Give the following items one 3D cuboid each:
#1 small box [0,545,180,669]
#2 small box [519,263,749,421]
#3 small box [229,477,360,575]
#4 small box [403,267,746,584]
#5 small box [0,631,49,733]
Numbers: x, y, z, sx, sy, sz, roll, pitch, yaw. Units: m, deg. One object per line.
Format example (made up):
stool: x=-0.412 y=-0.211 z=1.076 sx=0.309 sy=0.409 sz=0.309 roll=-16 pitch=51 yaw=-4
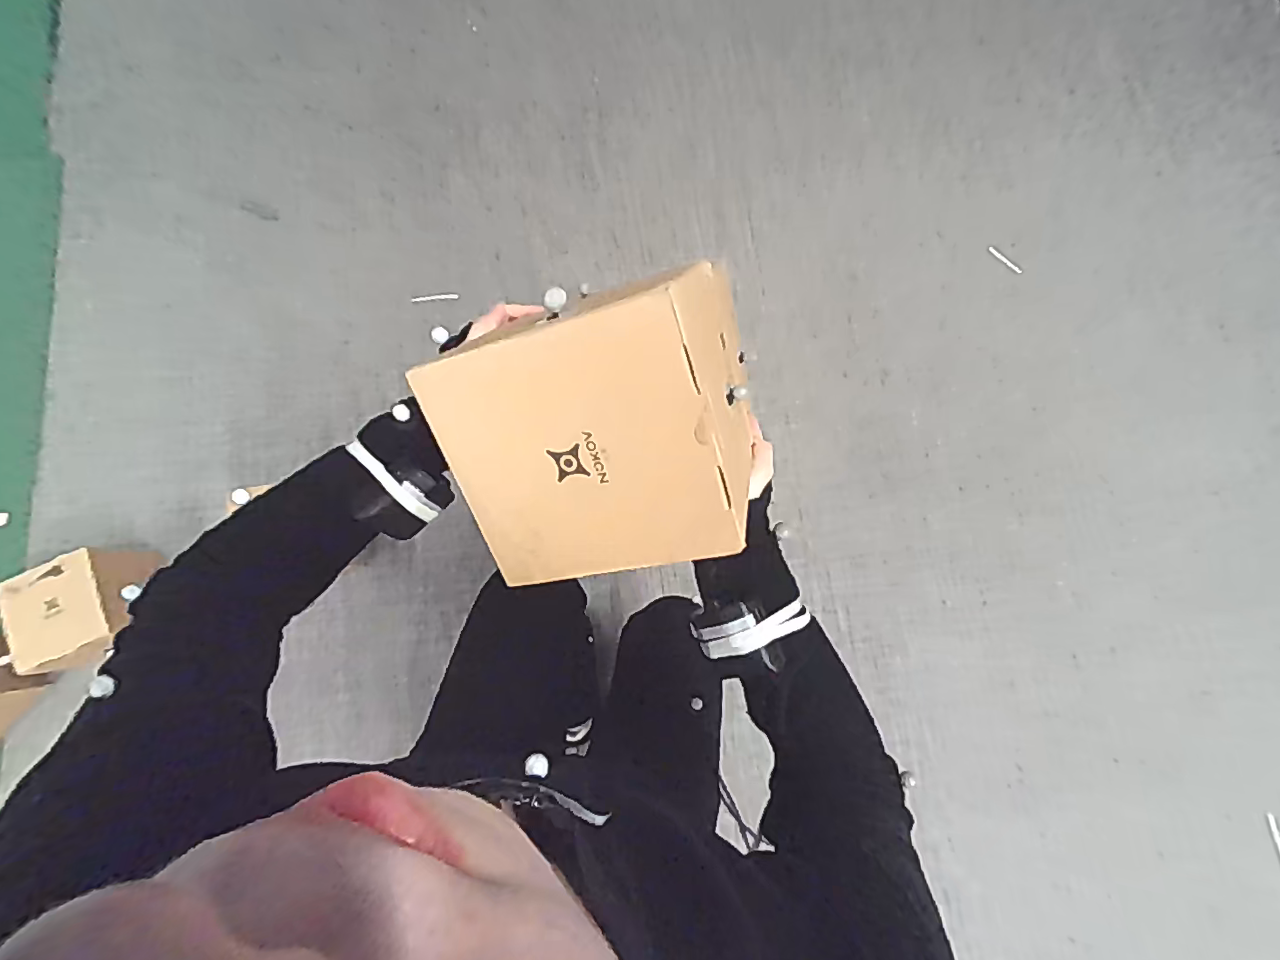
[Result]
small box: x=-1.056 y=0.240 z=1.054 sx=0.168 sy=0.176 sz=0.179 roll=-24 pitch=81 yaw=-6
small box: x=0.008 y=-0.111 z=0.547 sx=0.179 sy=0.176 sz=0.168 roll=-8 pitch=114 yaw=17
small box: x=-0.686 y=0.098 z=1.093 sx=0.179 sy=0.176 sz=0.168 roll=-8 pitch=78 yaw=-4
small box: x=-0.026 y=-0.046 z=0.401 sx=0.179 sy=0.176 sz=0.168 roll=-12 pitch=112 yaw=18
small box: x=-1.303 y=0.404 z=1.012 sx=0.168 sy=0.176 sz=0.179 roll=38 pitch=79 yaw=6
